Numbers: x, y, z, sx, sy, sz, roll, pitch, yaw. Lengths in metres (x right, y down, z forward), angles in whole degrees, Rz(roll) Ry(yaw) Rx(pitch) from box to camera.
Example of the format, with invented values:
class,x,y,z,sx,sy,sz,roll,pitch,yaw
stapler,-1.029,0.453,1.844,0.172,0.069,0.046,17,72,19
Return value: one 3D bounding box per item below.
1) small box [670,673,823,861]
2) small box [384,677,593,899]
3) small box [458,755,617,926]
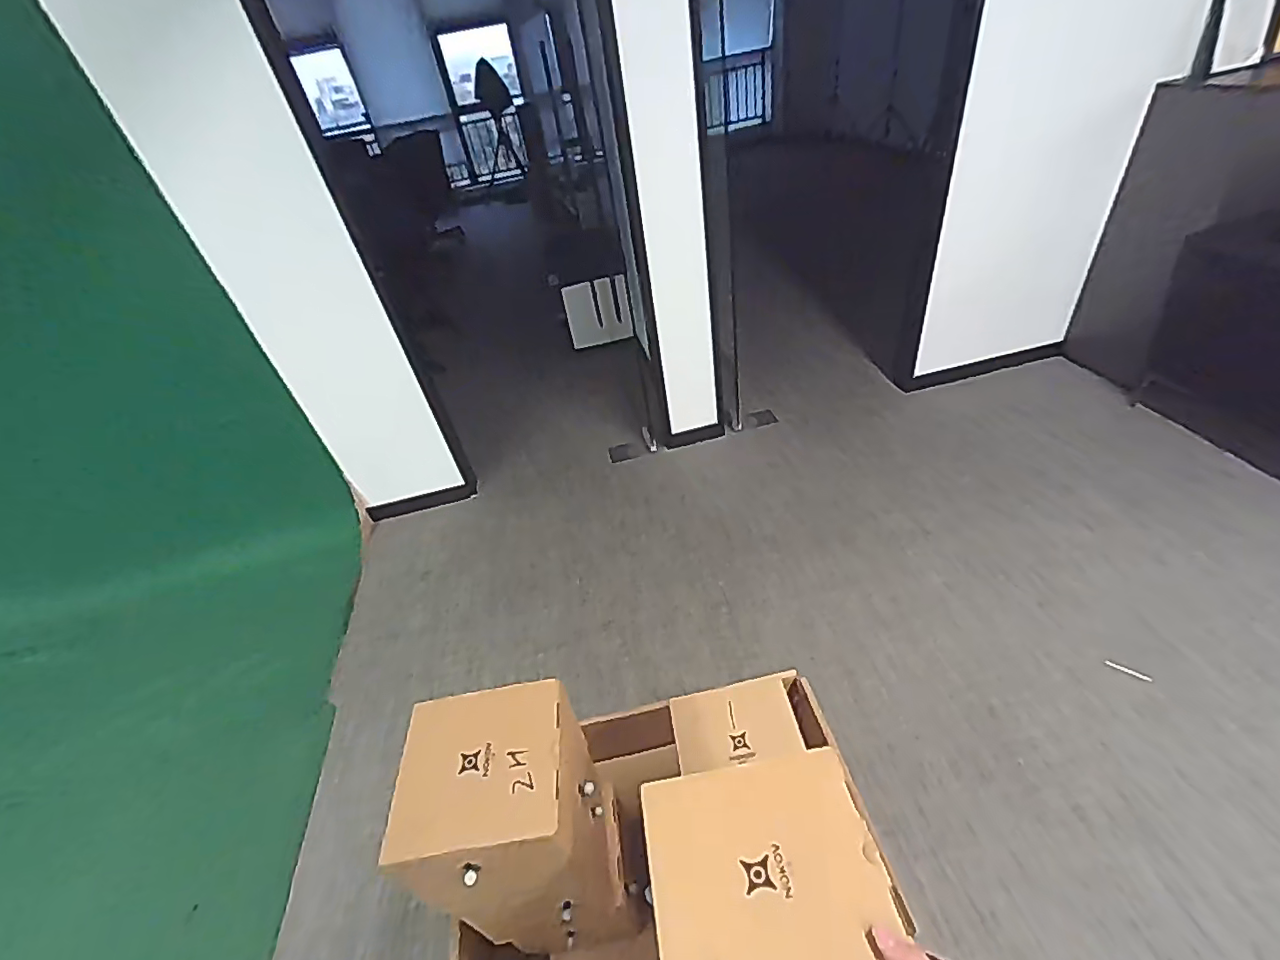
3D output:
class,x,y,z,sx,sy,sz,roll,pitch,yaw
small box,0.145,0.405,0.757,0.168,0.176,0.179,-12,39,1
small box,-0.159,0.360,0.631,0.179,0.176,0.168,-10,40,1
small box,-0.132,0.480,0.741,0.168,0.176,0.179,-12,39,-1
